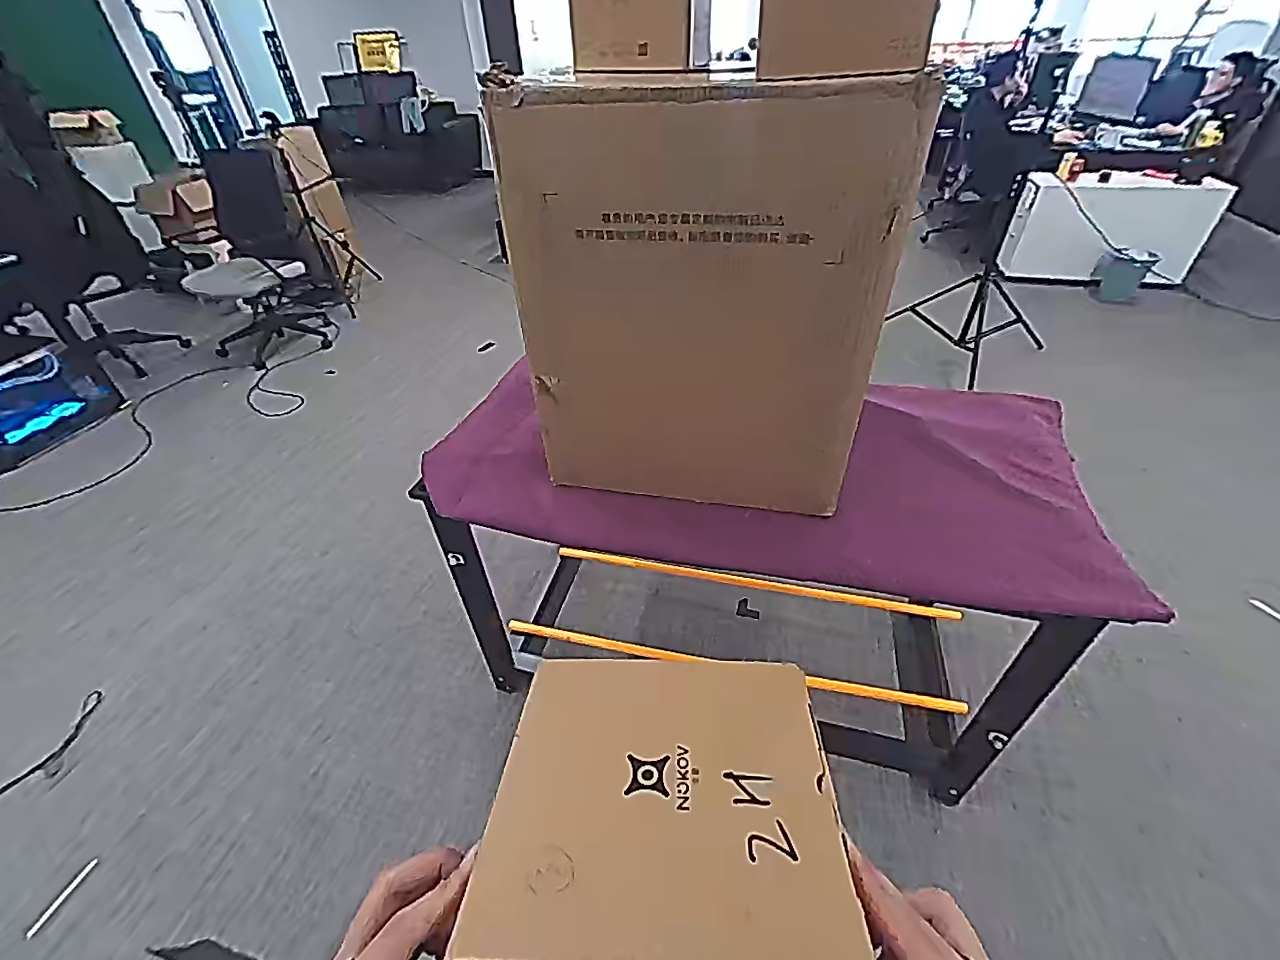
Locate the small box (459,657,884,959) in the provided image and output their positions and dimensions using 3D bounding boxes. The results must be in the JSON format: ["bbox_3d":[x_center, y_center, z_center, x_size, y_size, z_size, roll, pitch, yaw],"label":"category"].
[{"bbox_3d":[0.021,0.228,0.320,0.179,0.176,0.168,-1,27,5],"label":"small box"}]

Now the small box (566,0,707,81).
[{"bbox_3d":[0.001,-0.669,0.759,0.168,0.176,0.179,9,41,13],"label":"small box"}]

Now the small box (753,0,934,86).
[{"bbox_3d":[0.216,-0.537,0.584,0.179,0.176,0.168,4,40,10],"label":"small box"}]
